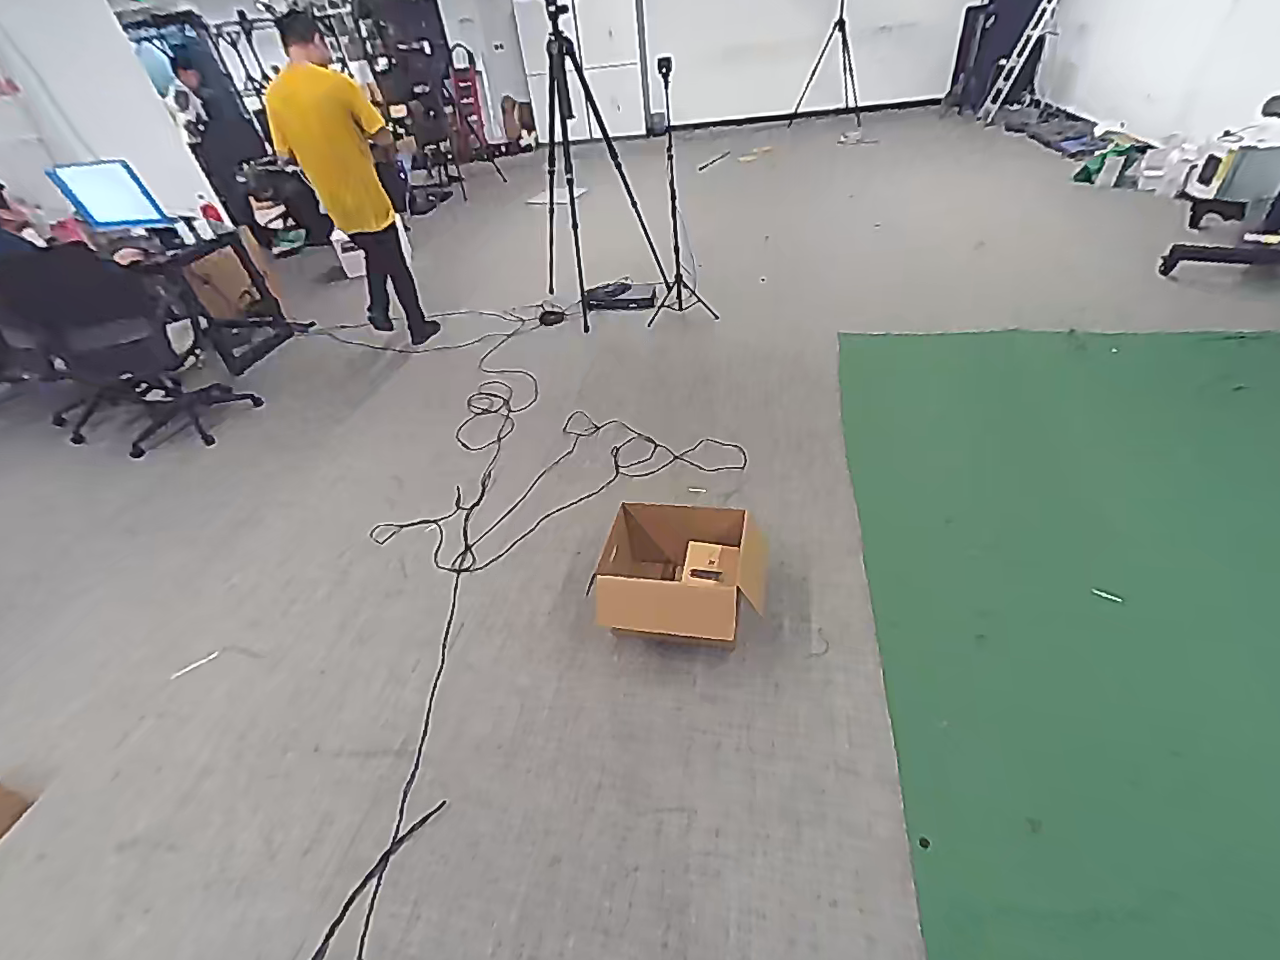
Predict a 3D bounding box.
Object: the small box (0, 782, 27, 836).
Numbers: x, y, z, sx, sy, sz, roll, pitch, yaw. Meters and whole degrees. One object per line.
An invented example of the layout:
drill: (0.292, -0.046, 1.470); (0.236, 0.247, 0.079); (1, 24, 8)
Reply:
small box: (-1.813, 0.894, 1.435); (0.168, 0.176, 0.179); (2, 43, 11)
